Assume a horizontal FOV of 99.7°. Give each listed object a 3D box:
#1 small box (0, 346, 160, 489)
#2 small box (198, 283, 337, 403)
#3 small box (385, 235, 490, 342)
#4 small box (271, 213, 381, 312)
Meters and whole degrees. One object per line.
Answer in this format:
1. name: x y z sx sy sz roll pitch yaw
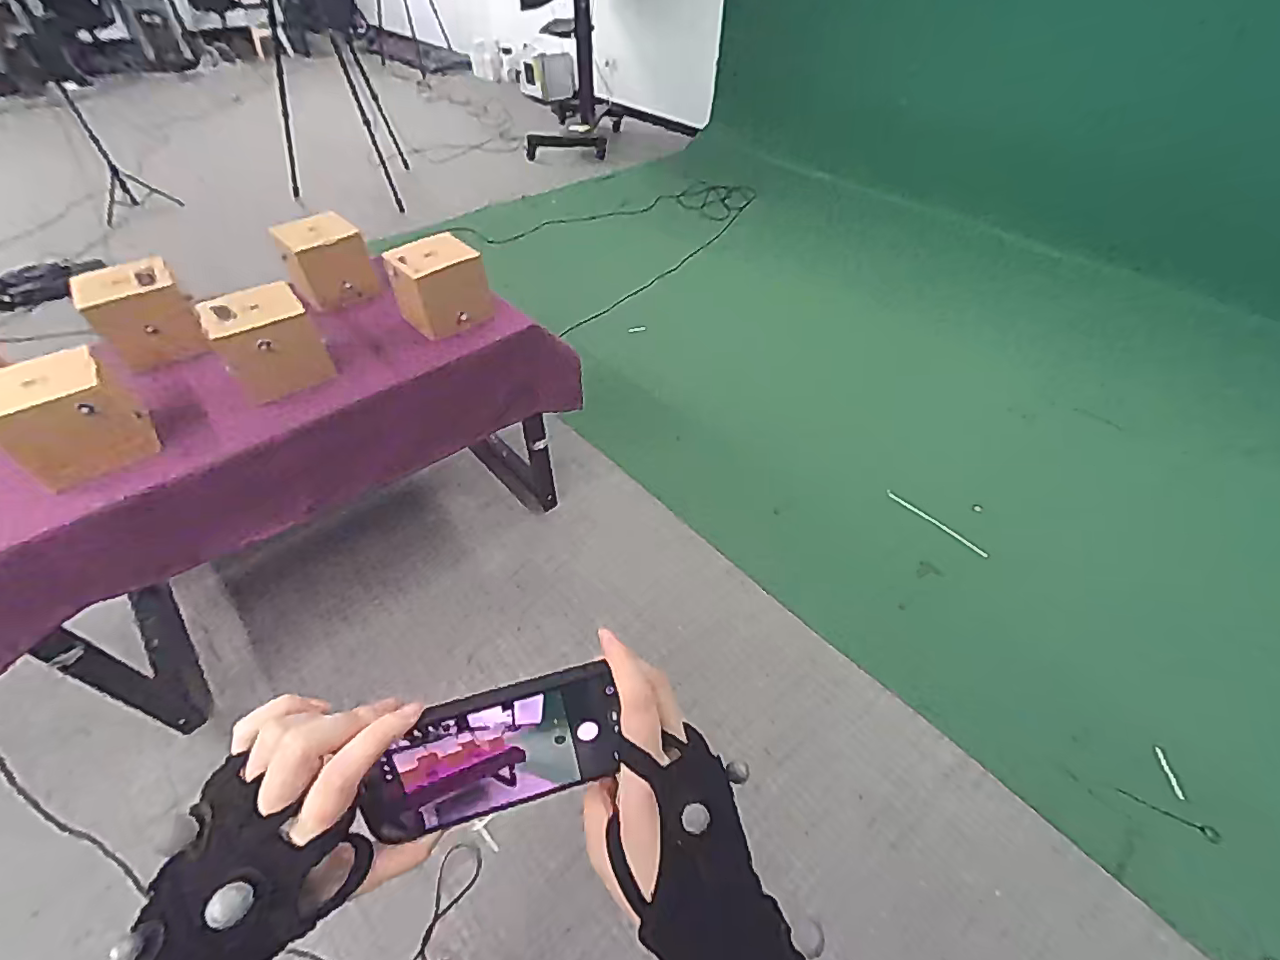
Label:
1. small box: -1.048 -0.113 0.997 0.179 0.176 0.168 -31 55 -27
2. small box: -0.794 -0.293 1.164 0.179 0.176 0.168 -29 55 -26
3. small box: -0.488 -0.470 1.329 0.179 0.176 0.168 -34 56 -28
4. small box: -0.811 -0.564 1.408 0.168 0.176 0.179 -36 58 -28
